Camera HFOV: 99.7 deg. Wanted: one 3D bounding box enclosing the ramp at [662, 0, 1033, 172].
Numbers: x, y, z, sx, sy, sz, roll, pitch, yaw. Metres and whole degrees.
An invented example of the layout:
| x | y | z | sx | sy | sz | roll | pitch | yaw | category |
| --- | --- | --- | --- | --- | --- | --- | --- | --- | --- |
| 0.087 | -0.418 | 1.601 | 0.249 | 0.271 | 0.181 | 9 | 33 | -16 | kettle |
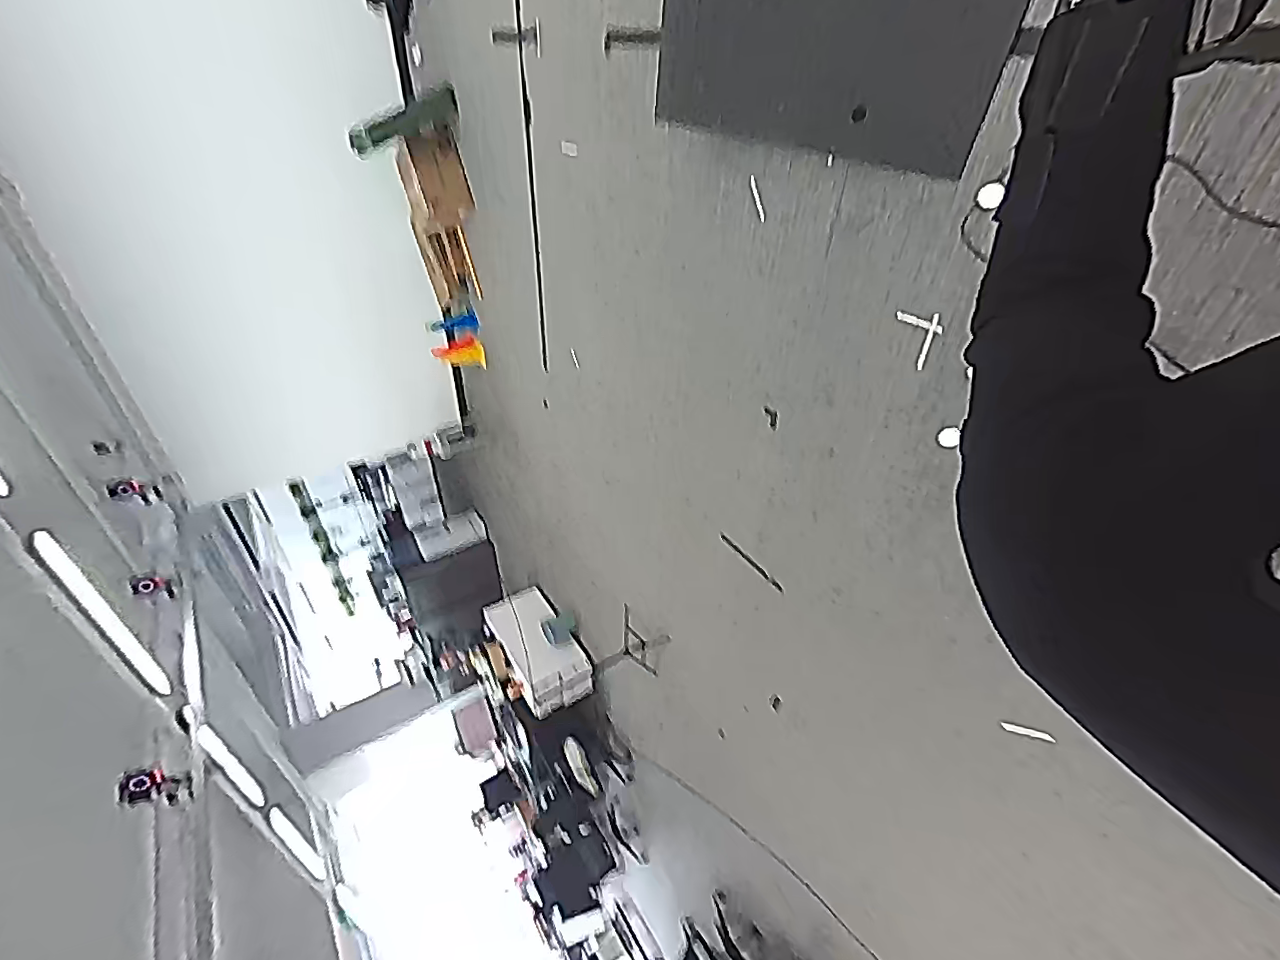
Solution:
| x | y | z | sx | sy | sz | roll | pitch | yaw | category |
| --- | --- | --- | --- | --- | --- | --- | --- | --- | --- |
| 0.445 | -1.166 | 1.401 | 0.991 | 0.206 | 0.509 | 42 | 141 | 39 | ramp |
